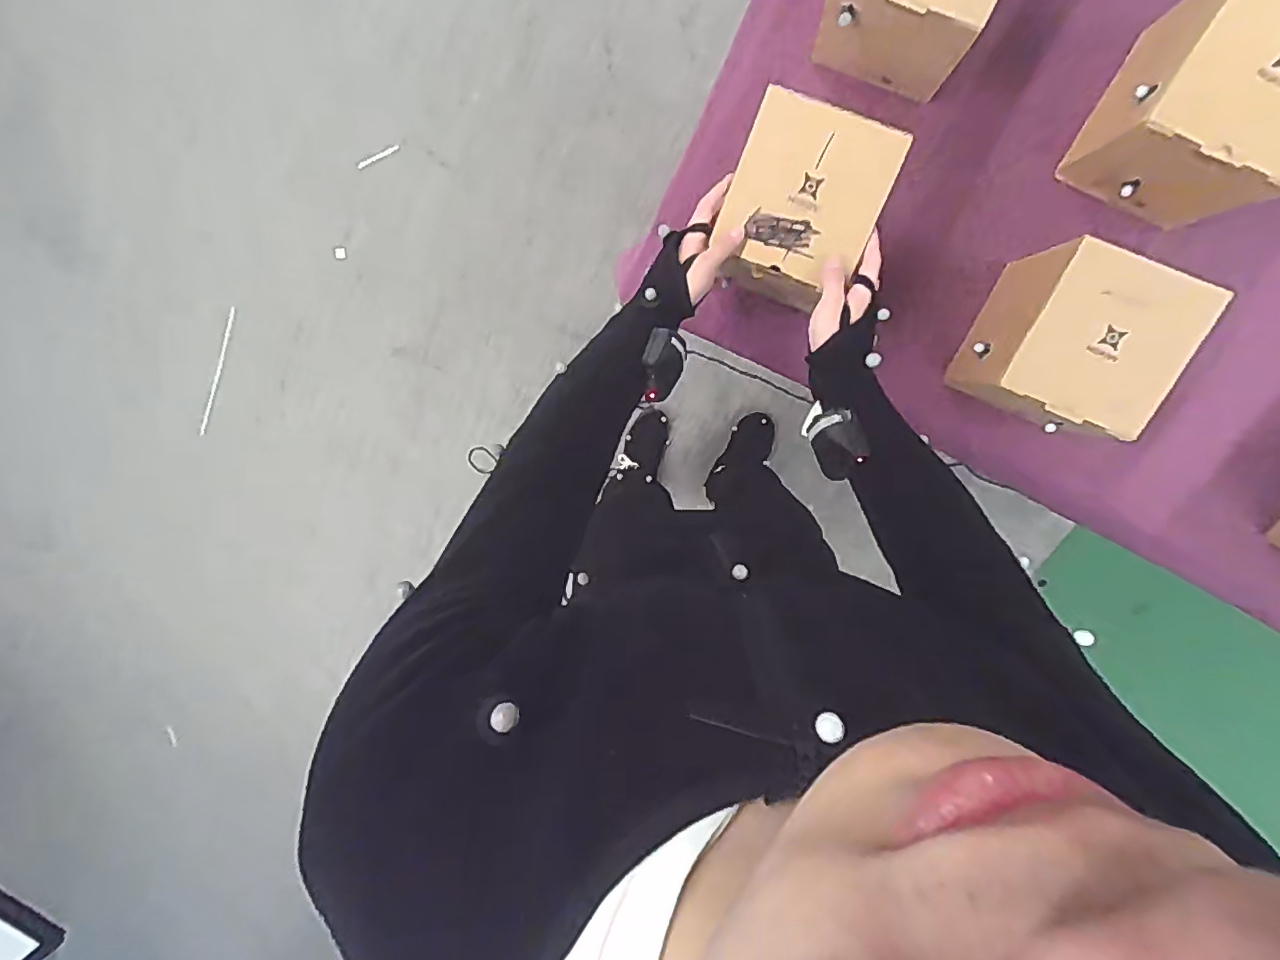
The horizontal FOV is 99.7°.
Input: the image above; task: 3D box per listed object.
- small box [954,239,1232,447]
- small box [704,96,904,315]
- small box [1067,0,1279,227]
[{"bbox_3d":[0.523,-0.161,0.664,0.168,0.176,0.179,25,104,4],"label":"small box"},{"bbox_3d":[0.191,-0.323,0.677,0.168,0.176,0.179,22,102,4],"label":"small box"},{"bbox_3d":[0.630,-0.409,0.590,0.168,0.176,0.179,27,107,3],"label":"small box"}]
